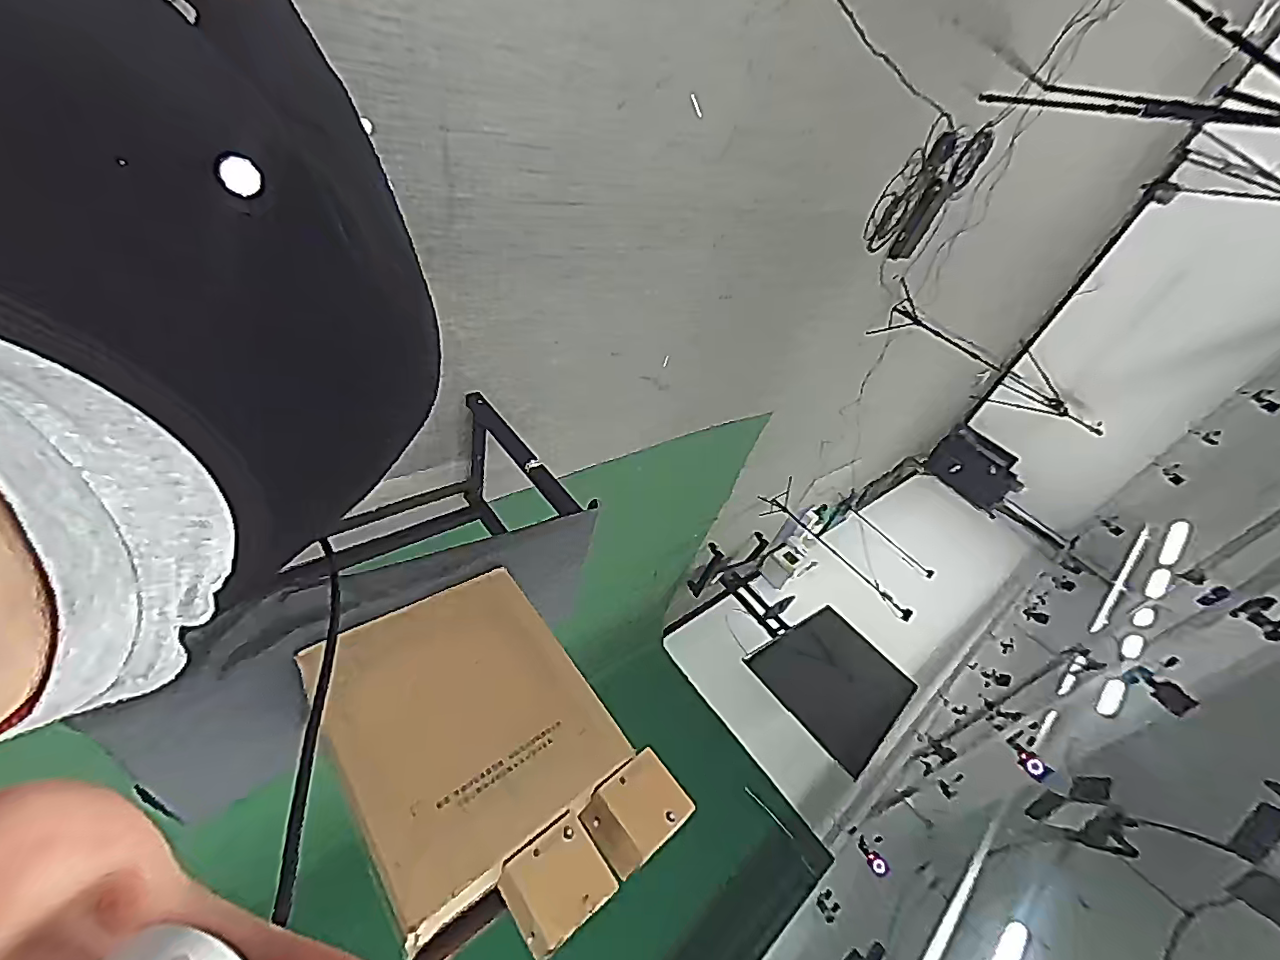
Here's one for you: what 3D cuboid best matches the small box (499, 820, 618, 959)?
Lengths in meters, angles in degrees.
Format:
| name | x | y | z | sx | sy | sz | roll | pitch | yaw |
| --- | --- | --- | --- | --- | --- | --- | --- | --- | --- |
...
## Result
| name | x | y | z | sx | sy | sz | roll | pitch | yaw |
| --- | --- | --- | --- | --- | --- | --- | --- | --- | --- |
| small box | -0.174 | 0.844 | 1.113 | 0.168 | 0.176 | 0.179 | -21 | 144 | -38 |

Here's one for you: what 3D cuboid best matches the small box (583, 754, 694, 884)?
| name | x | y | z | sx | sy | sz | roll | pitch | yaw |
| --- | --- | --- | --- | --- | --- | --- | --- | --- | --- |
| small box | -0.011 | 0.776 | 1.251 | 0.168 | 0.176 | 0.179 | -23 | 146 | -42 |
